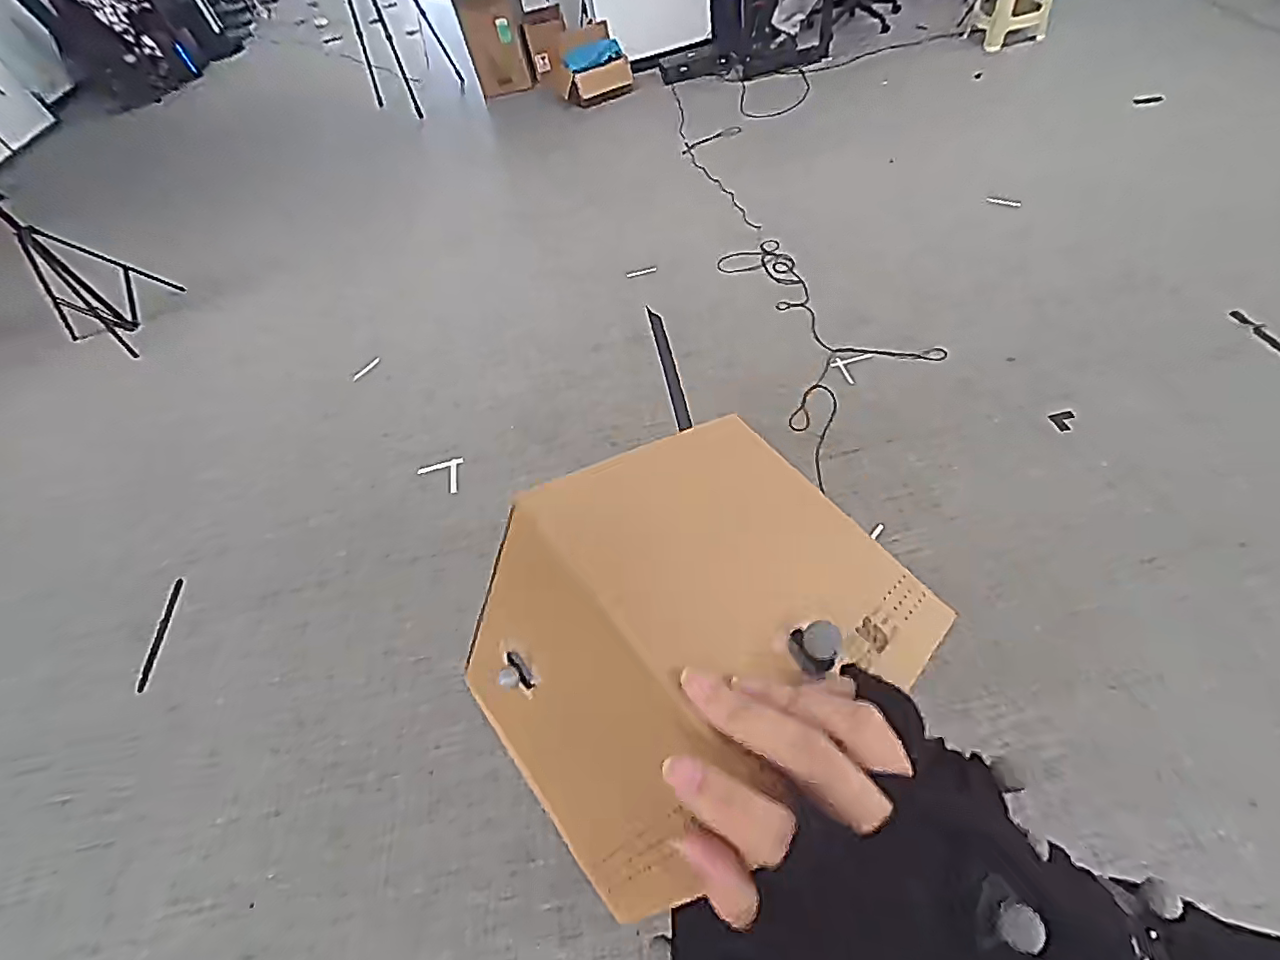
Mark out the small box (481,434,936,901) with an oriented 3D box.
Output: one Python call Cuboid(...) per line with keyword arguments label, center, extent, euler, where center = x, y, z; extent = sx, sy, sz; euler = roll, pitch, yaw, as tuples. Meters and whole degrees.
Cuboid(label="small box", center=(0.028, 0.107, 0.324), extent=(0.168, 0.179, 0.176), euler=(-25, 62, -41))
